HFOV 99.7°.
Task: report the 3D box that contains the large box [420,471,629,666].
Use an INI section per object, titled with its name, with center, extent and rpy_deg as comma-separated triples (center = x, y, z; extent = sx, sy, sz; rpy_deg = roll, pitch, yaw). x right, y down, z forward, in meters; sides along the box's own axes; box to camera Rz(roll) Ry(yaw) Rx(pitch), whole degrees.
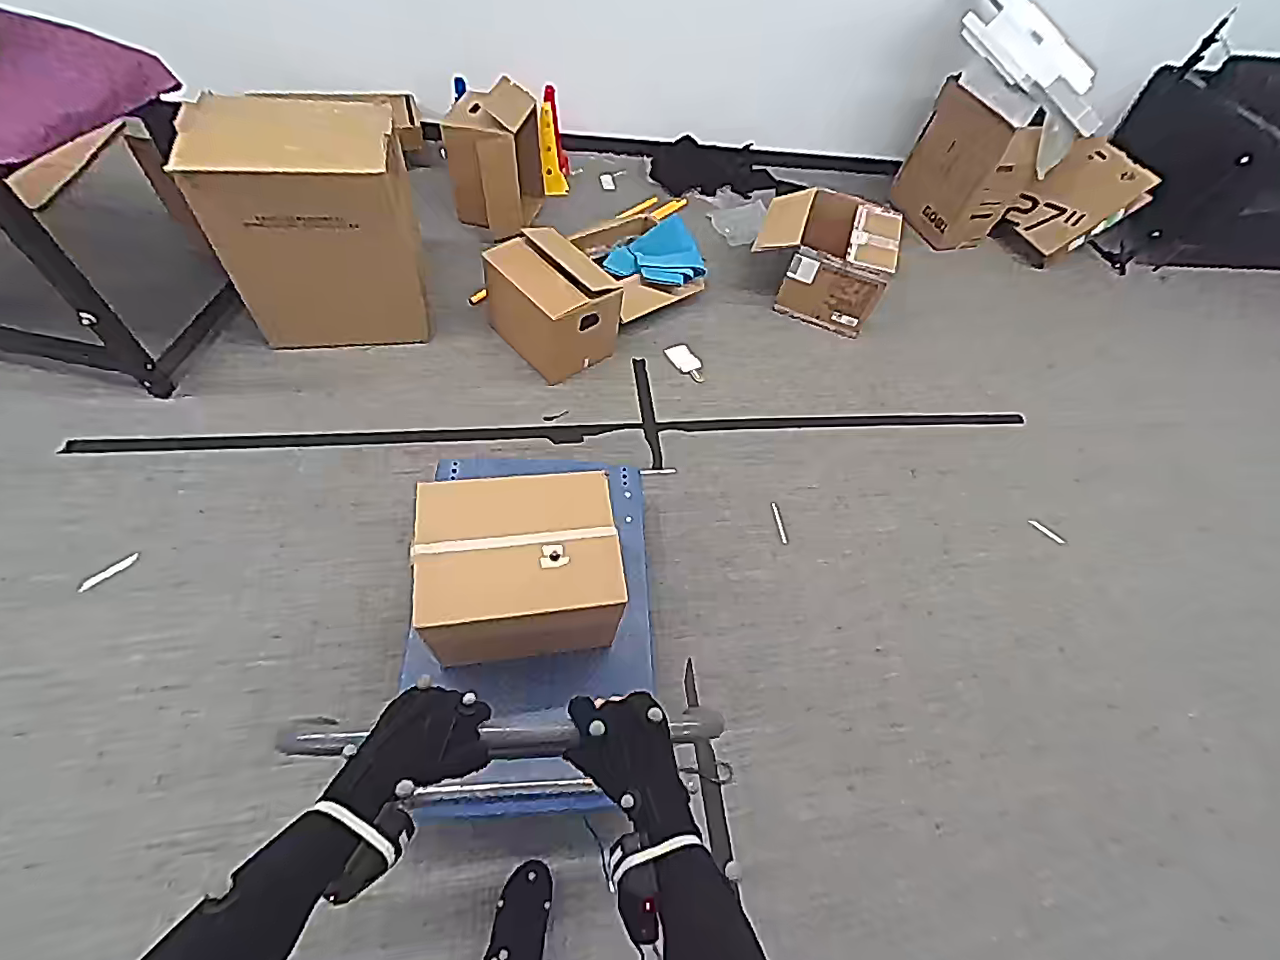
[large box]
center = -0.265, 0.204, 1.234
extent = 0.408, 0.320, 0.320
rpy_deg = -4, 59, -13
